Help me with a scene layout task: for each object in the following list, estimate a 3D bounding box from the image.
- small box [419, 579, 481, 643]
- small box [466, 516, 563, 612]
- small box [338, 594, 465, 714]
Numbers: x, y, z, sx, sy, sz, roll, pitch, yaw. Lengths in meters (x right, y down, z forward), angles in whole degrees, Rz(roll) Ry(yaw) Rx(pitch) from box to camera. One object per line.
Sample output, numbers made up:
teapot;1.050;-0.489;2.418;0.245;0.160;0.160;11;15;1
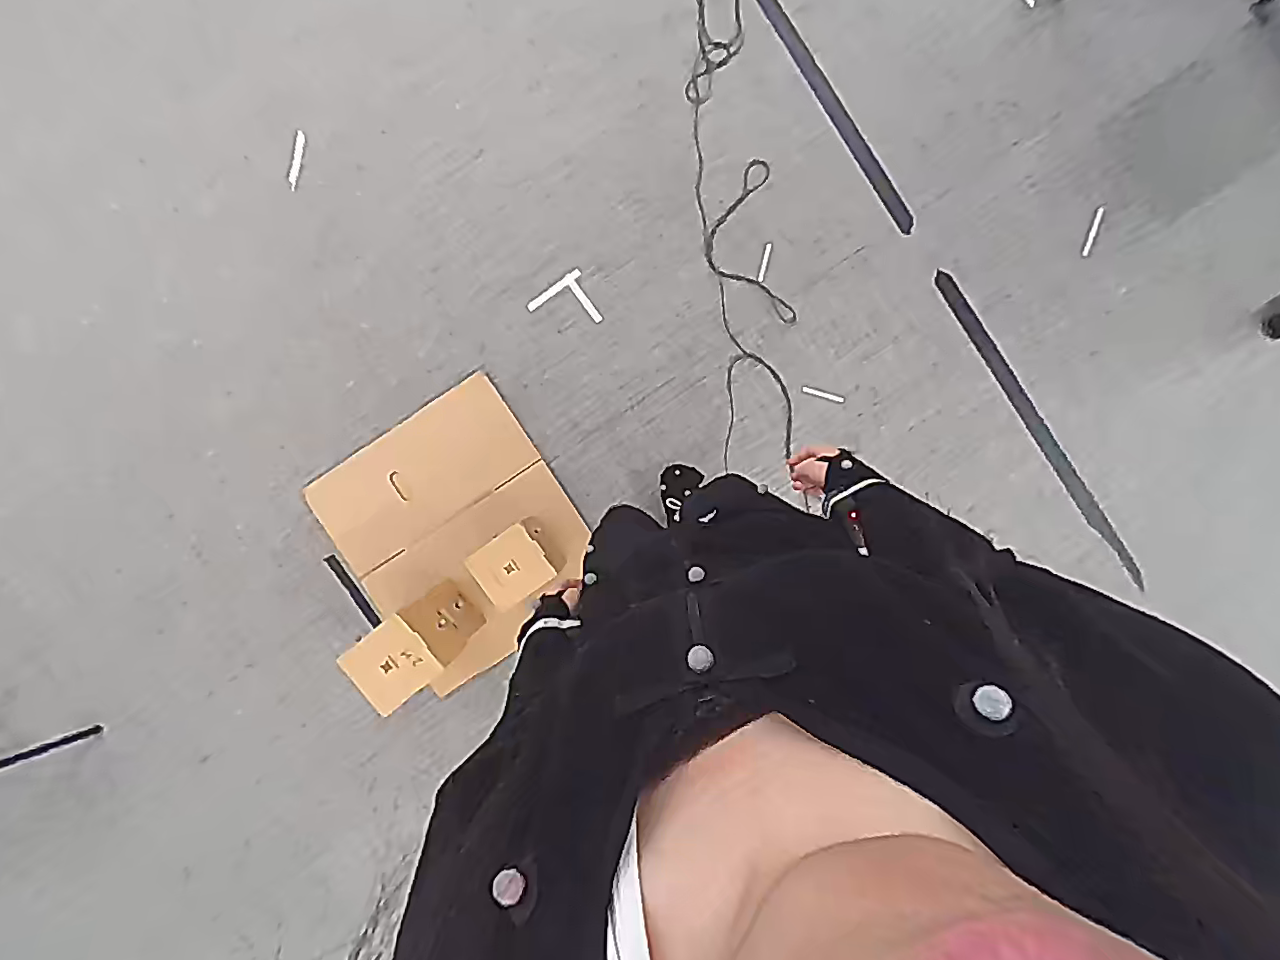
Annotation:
small box;-0.538;0.382;1.410;0.179;0.176;0.168;-41;91;0
small box;-0.315;0.209;1.407;0.179;0.176;0.168;-36;91;2
small box;-0.537;0.391;1.246;0.179;0.176;0.168;-39;92;1
